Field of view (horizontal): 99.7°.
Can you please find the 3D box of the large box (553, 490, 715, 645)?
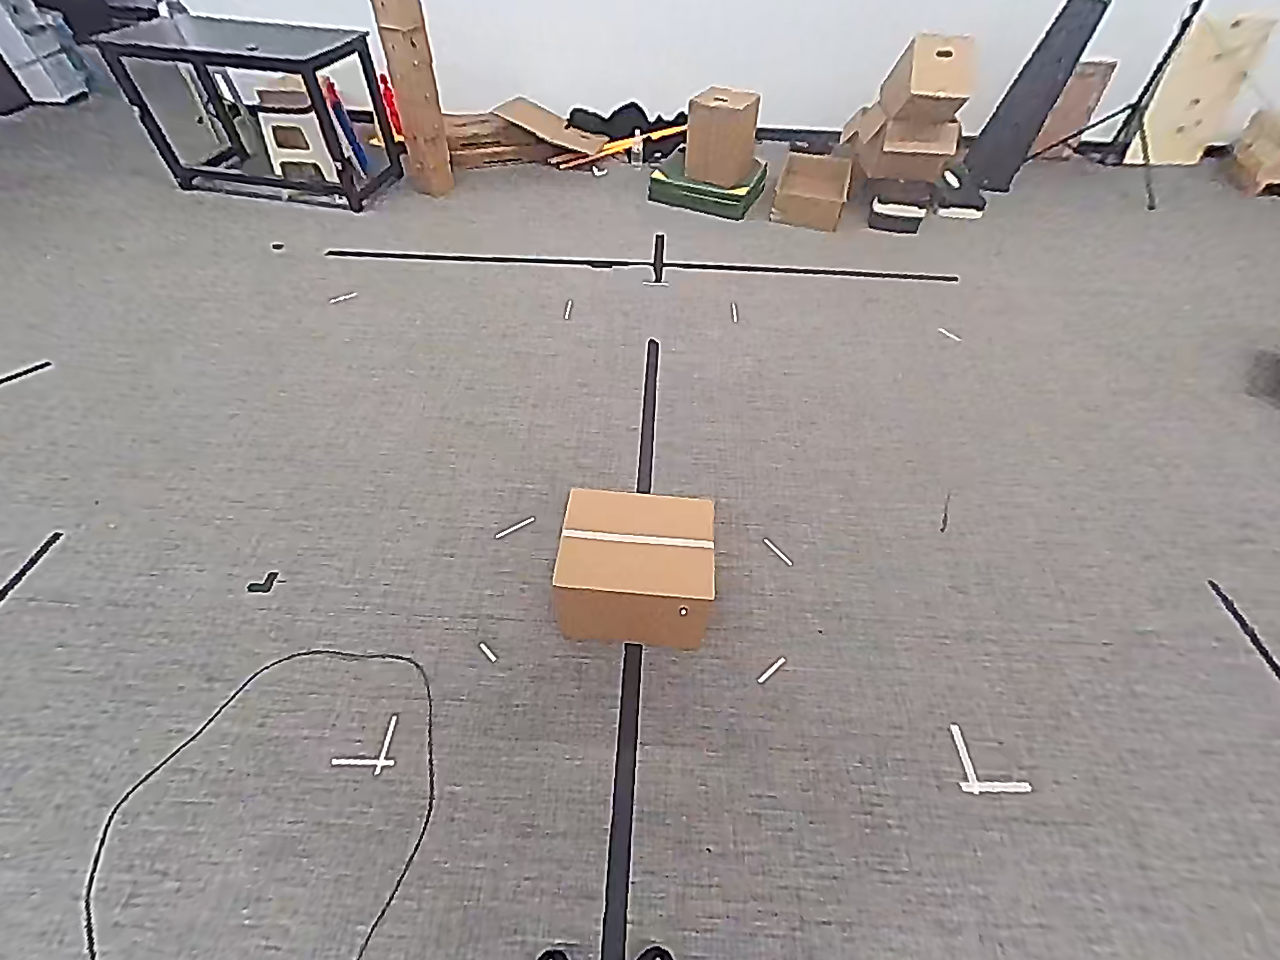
[{"bbox_3d":[-0.011,0.253,1.531,0.408,0.320,0.320,5,50,1],"label":"large box"}]
